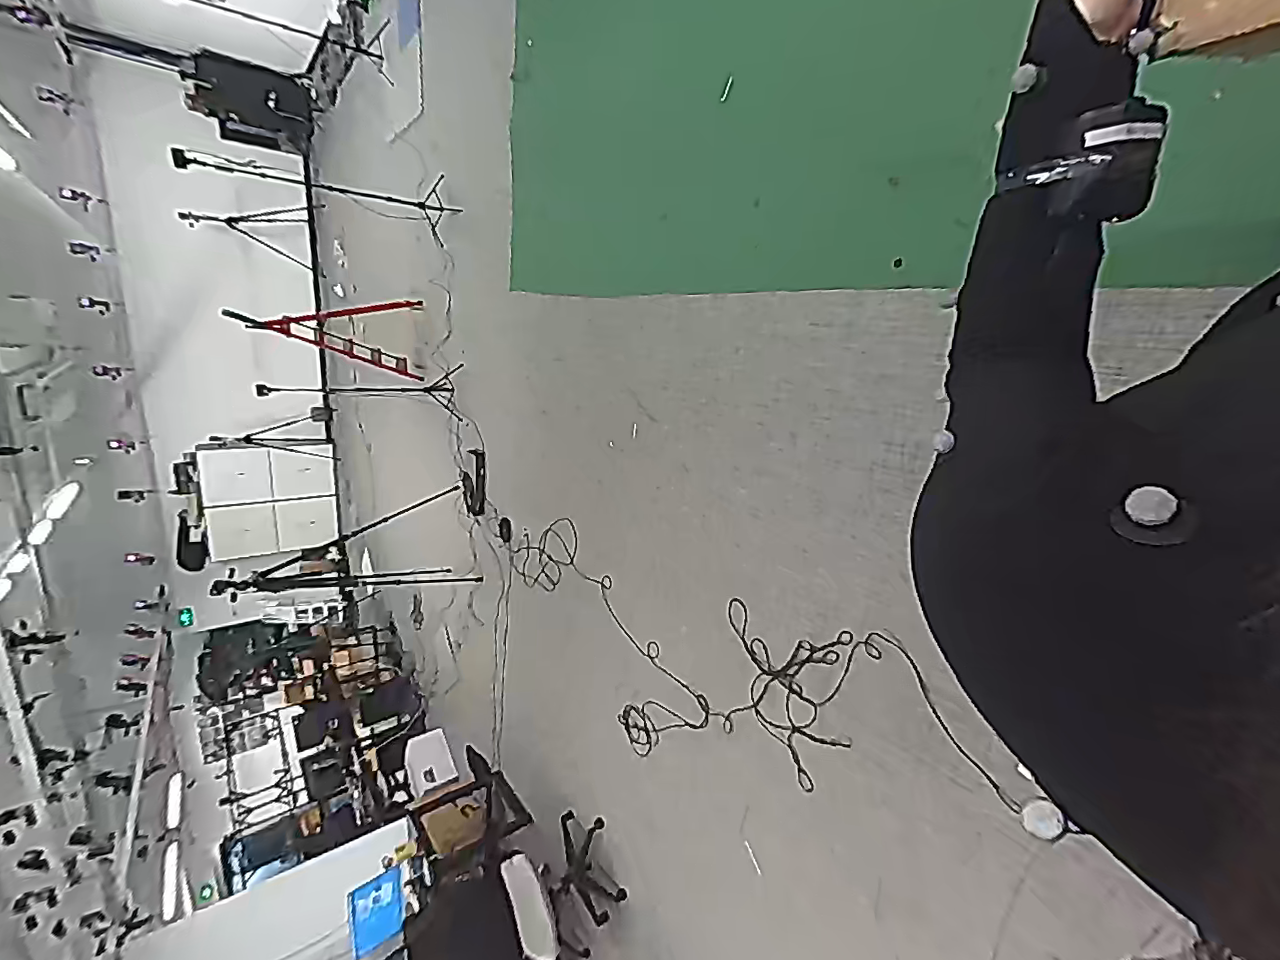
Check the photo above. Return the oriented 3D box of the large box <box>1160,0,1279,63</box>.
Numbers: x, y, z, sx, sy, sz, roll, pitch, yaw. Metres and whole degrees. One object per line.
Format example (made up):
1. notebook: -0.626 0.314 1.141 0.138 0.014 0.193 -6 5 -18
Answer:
1. large box: 0.542 -0.438 0.219 0.408 0.320 0.320 17 127 51
